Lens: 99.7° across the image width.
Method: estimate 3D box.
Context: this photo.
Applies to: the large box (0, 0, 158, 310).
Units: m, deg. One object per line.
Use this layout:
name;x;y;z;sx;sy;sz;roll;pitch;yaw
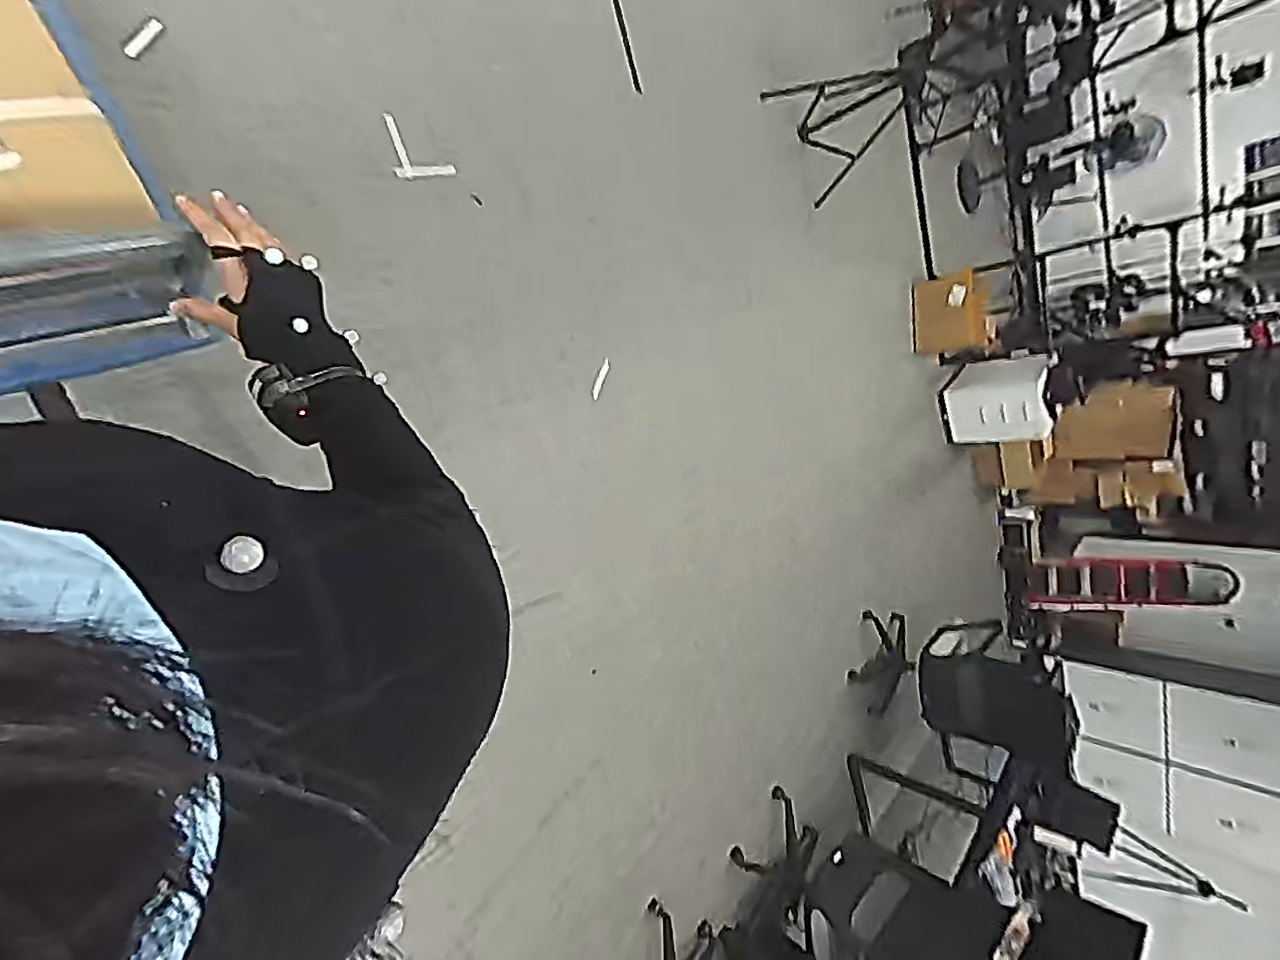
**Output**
large box;-0.993;-0.424;0.746;0.408;0.320;0.320;-35;113;-37
